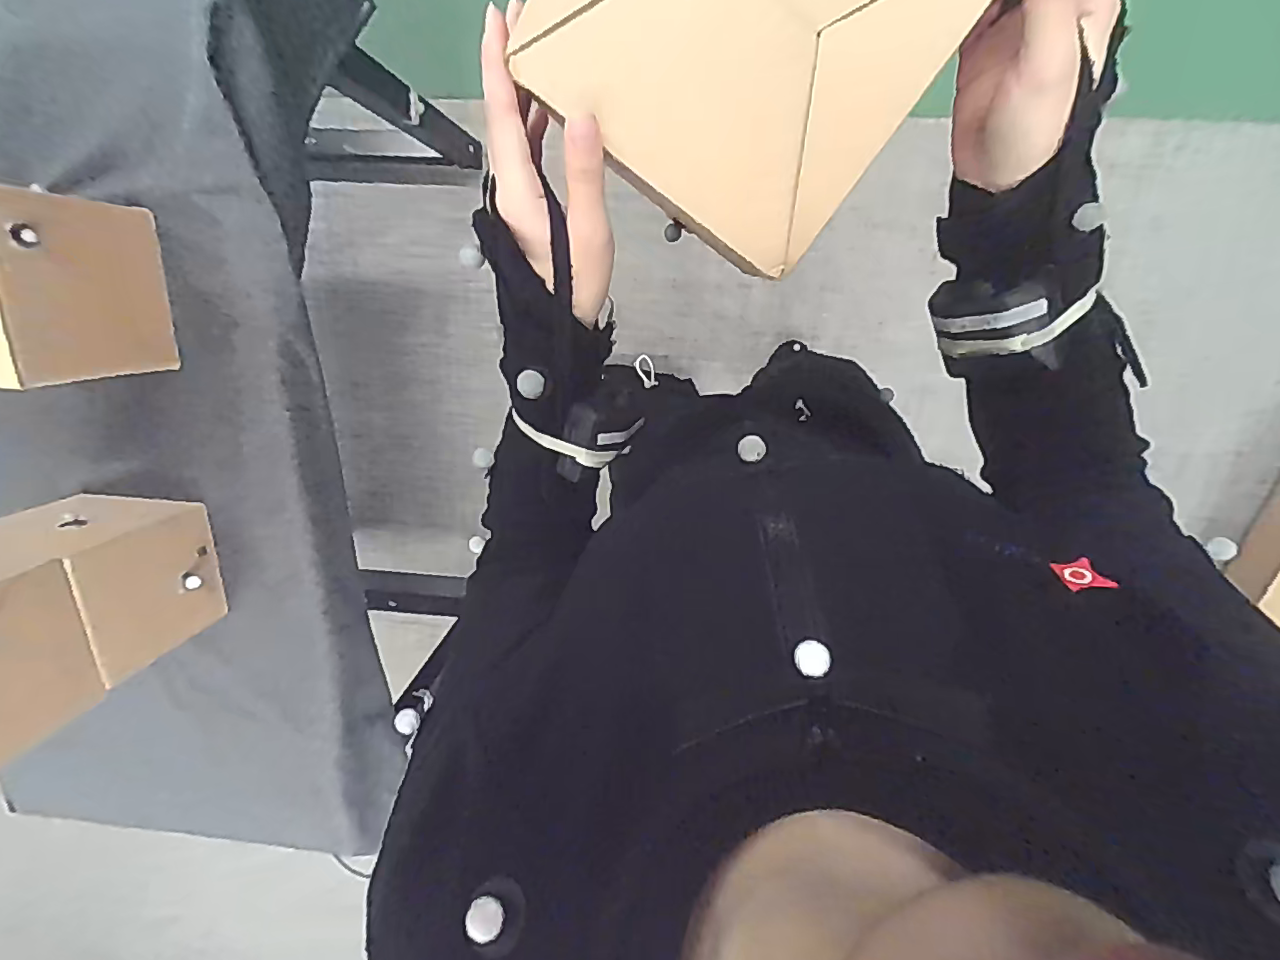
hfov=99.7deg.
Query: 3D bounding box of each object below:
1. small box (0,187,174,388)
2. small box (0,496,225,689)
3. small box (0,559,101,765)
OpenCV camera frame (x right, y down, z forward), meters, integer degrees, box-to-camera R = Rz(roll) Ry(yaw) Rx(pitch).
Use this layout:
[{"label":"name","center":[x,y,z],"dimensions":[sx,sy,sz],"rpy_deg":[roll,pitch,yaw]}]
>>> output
[{"label":"small box","center":[-0.631,-0.198,0.554],"dimensions":[0.168,0.176,0.179],"rpy_deg":[6,107,4]},{"label":"small box","center":[-0.658,0.124,0.652],"dimensions":[0.179,0.176,0.168],"rpy_deg":[4,107,3]},{"label":"small box","center":[-0.672,0.177,0.498],"dimensions":[0.168,0.176,0.179],"rpy_deg":[3,108,6]}]
